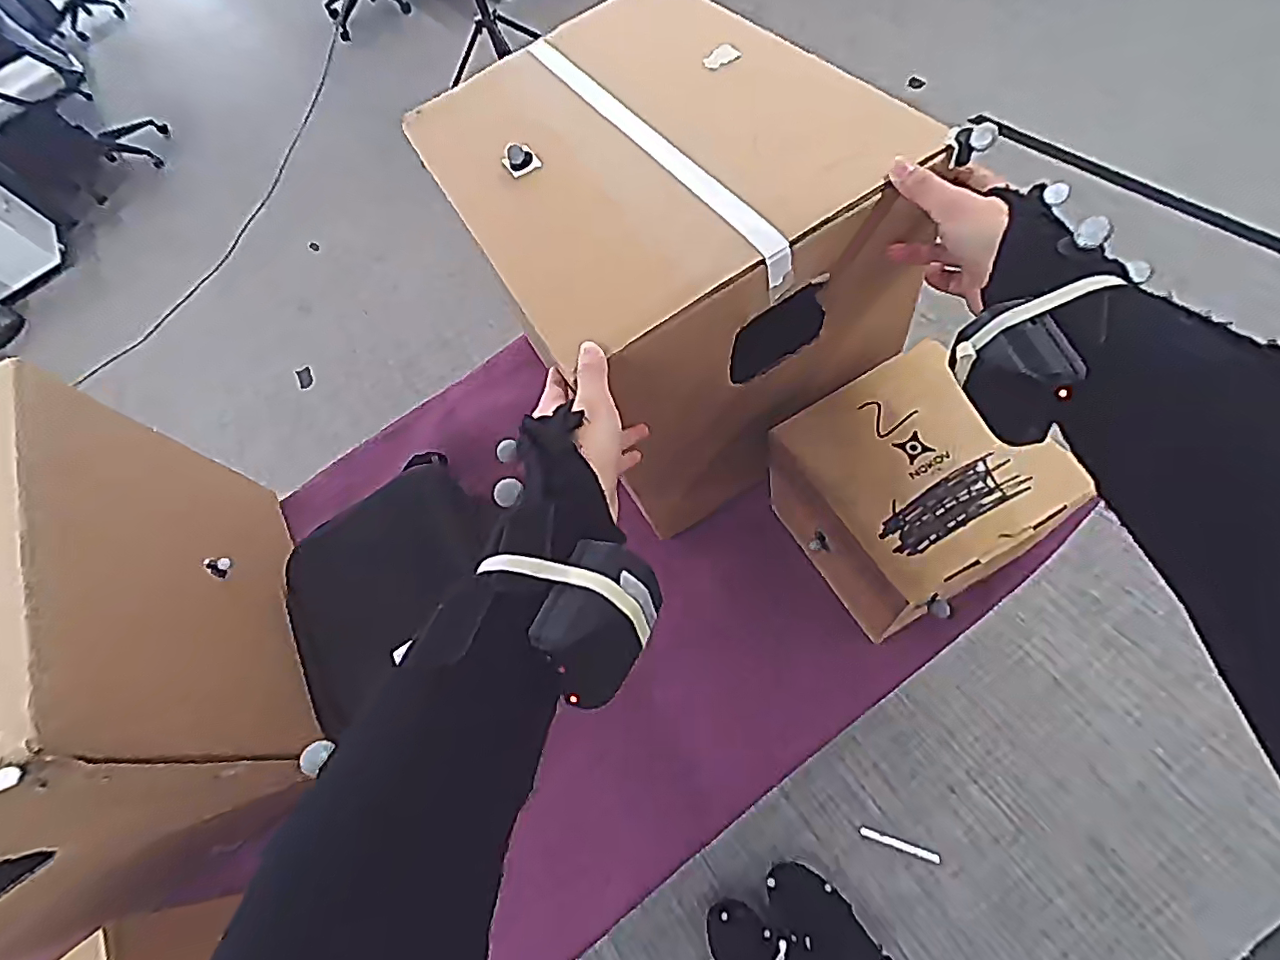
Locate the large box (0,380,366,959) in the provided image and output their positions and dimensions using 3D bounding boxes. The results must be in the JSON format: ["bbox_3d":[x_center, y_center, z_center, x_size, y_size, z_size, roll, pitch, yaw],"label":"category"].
[{"bbox_3d":[-0.560,0.187,0.542,0.320,0.320,0.408,-37,64,-5],"label":"large box"}]
